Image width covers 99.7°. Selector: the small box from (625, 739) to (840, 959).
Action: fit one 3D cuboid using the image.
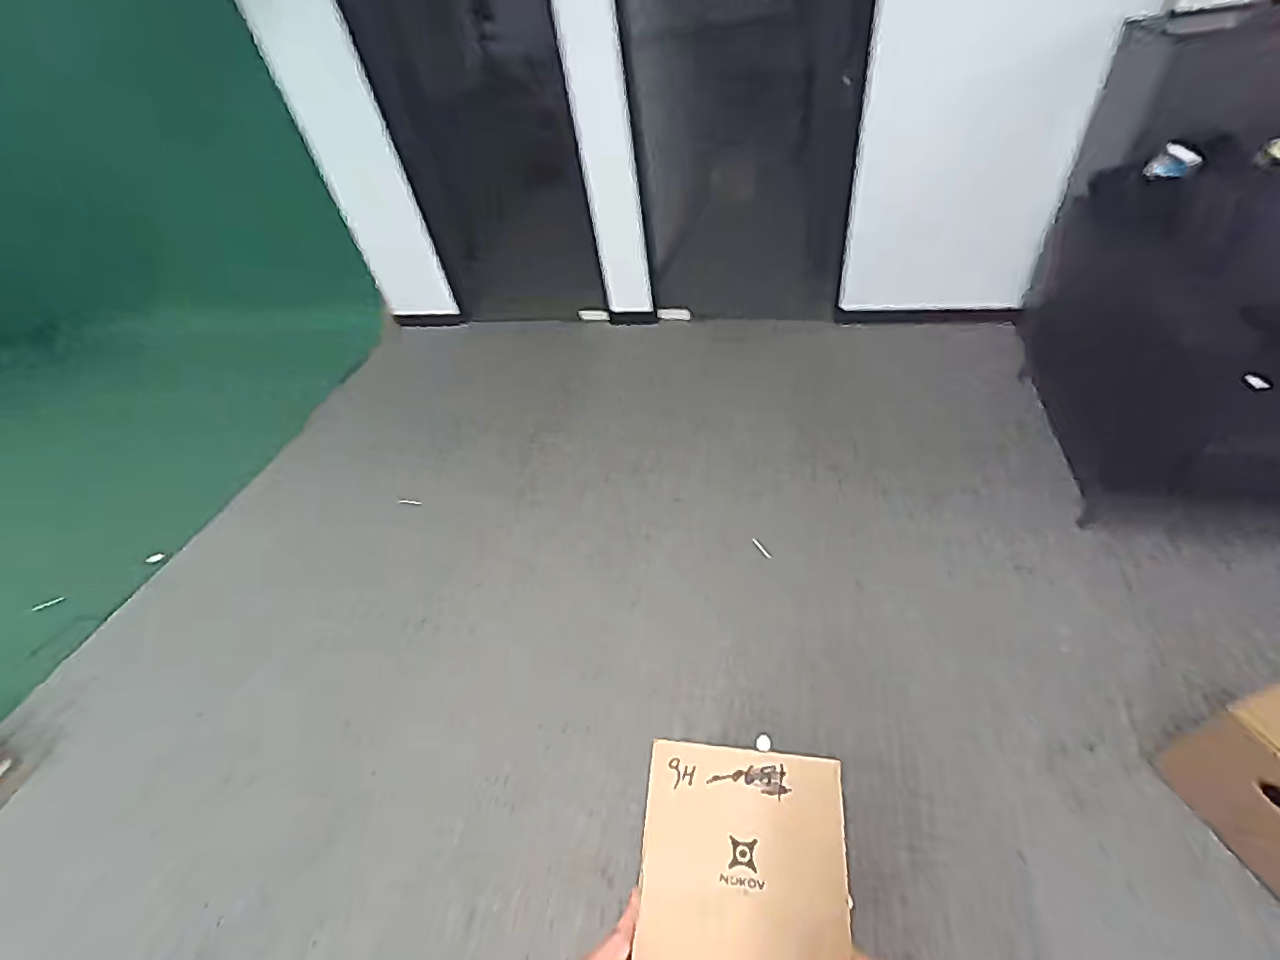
[{"bbox_3d":[0.091,0.362,0.513,0.168,0.176,0.179,2,57,12],"label":"small box"}]
